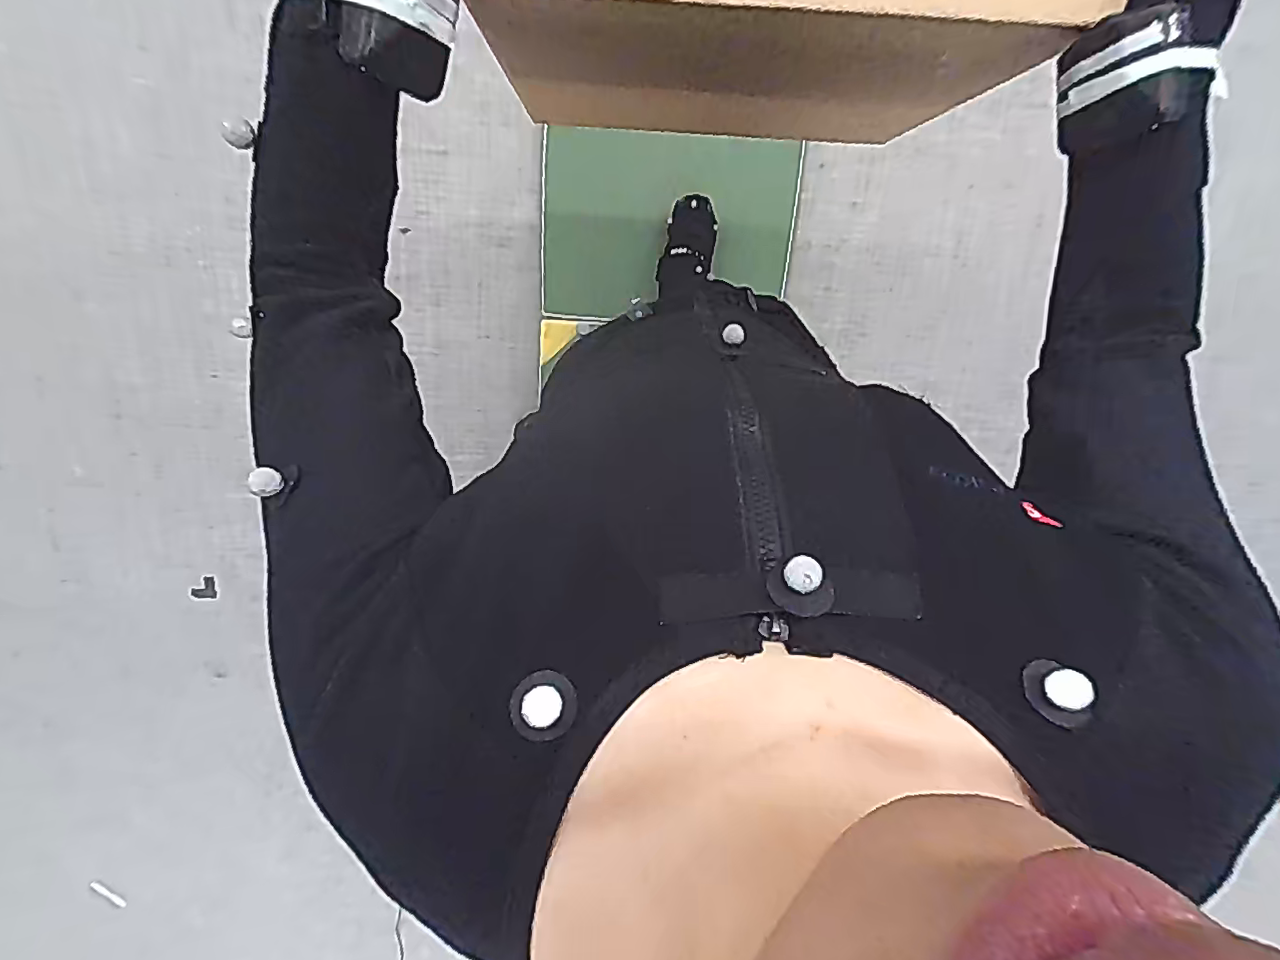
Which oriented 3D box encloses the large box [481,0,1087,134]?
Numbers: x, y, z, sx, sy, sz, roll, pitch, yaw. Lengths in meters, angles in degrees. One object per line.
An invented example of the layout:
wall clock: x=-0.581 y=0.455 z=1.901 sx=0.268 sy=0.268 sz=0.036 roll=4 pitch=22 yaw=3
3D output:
large box: x=0.085 y=-0.494 z=0.430 sx=0.408 sy=0.320 sz=0.320 roll=0 pitch=110 yaw=-3
